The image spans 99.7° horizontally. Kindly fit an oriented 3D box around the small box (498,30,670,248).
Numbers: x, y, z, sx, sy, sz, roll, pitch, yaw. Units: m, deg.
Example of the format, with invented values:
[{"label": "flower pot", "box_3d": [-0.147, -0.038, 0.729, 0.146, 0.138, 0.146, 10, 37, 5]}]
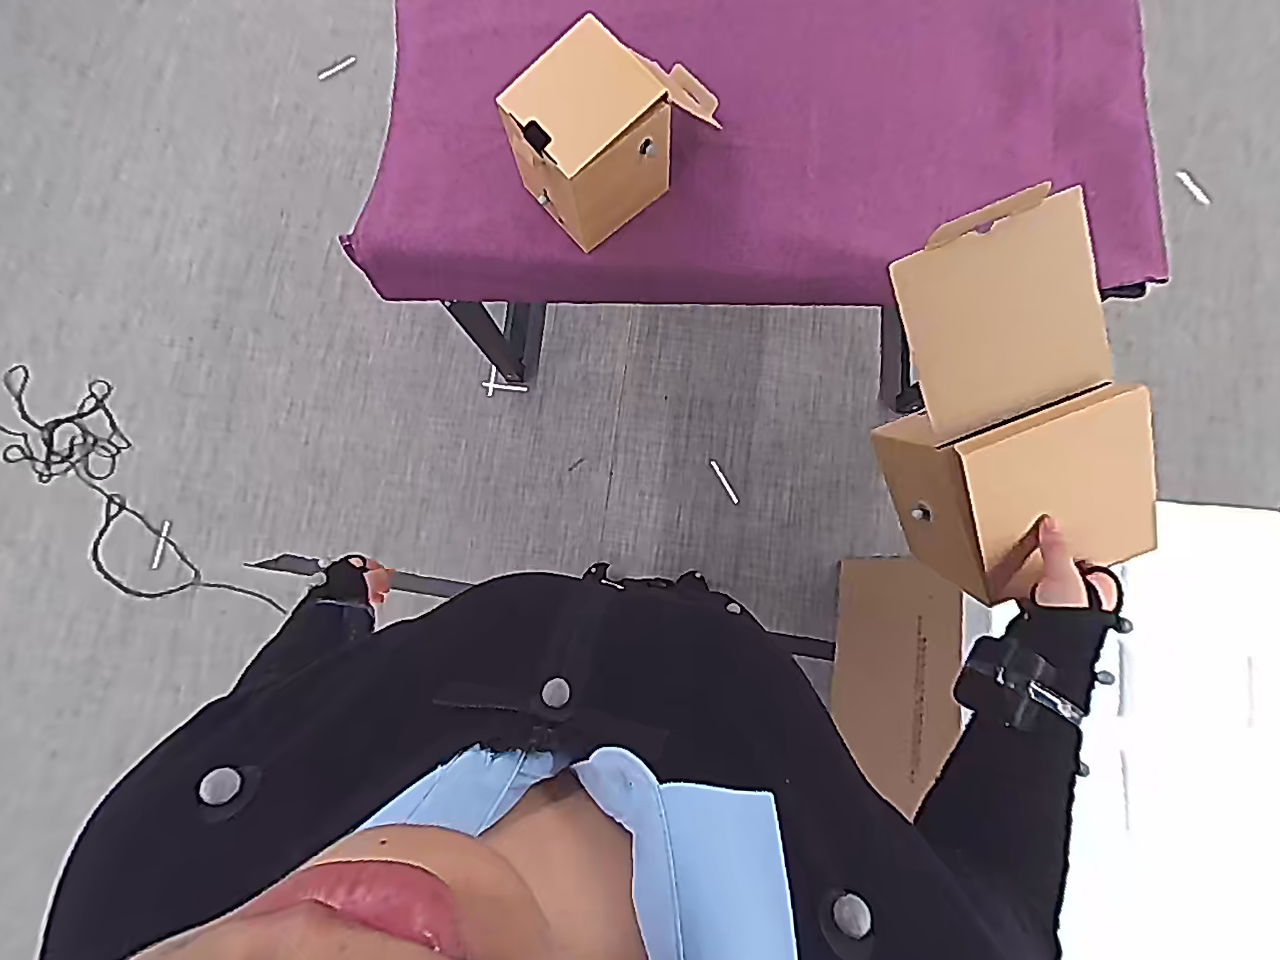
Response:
[{"label": "small box", "box_3d": [-0.075, -0.491, 0.801, 0.179, 0.176, 0.168, -40, 80, -5]}]
